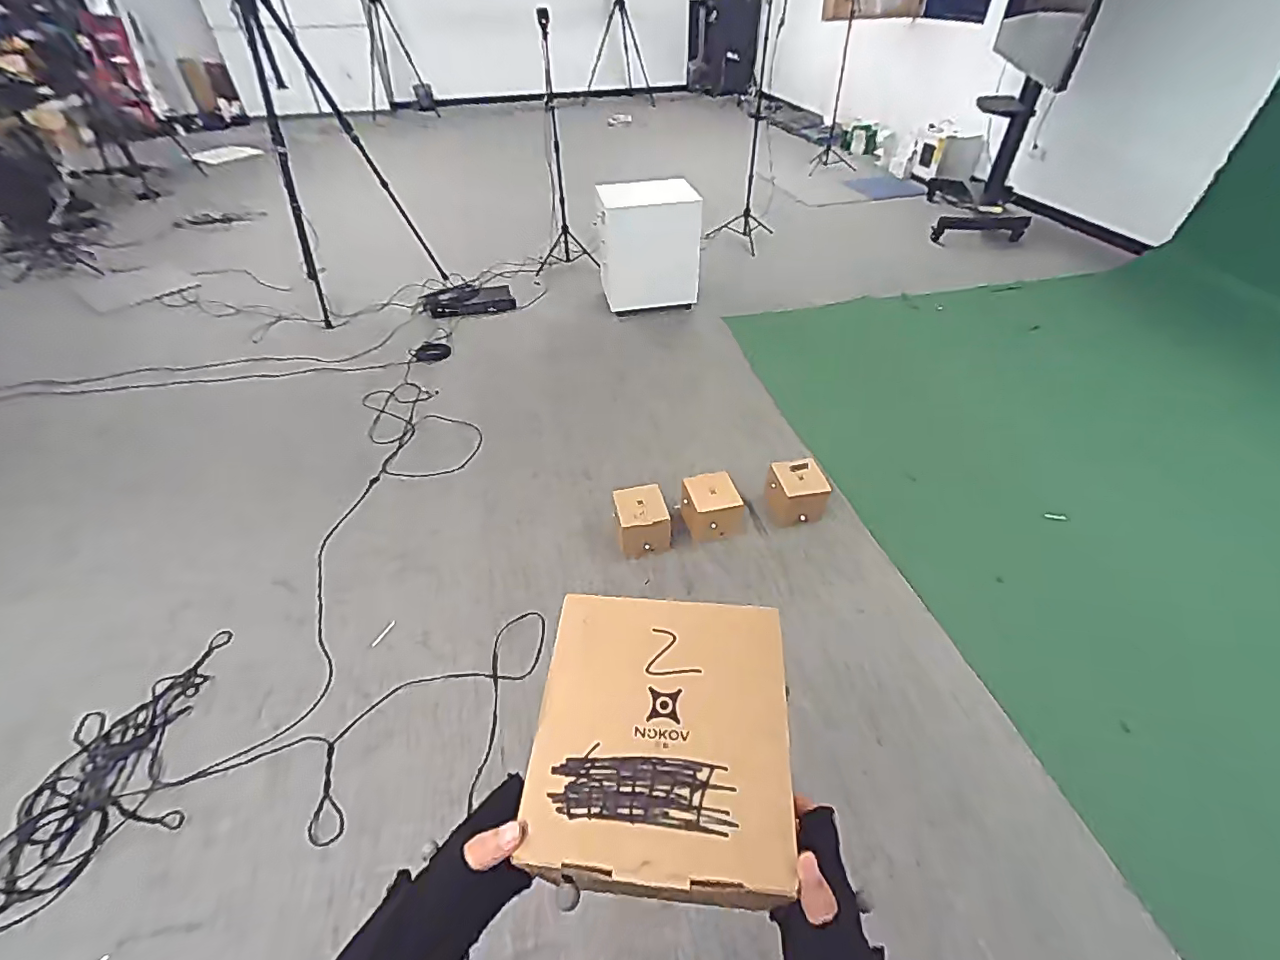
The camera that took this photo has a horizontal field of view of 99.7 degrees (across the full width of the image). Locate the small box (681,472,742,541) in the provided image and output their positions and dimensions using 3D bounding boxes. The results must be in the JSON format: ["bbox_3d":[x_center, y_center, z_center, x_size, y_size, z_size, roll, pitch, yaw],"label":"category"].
[{"bbox_3d":[0.251,0.102,1.931,0.168,0.176,0.179,-10,43,-10],"label":"small box"}]

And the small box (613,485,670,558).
[{"bbox_3d":[0.003,0.144,1.883,0.168,0.176,0.179,-10,45,-9],"label":"small box"}]

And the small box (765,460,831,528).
[{"bbox_3d":[0.569,0.050,1.980,0.168,0.176,0.179,-8,45,-7],"label":"small box"}]
